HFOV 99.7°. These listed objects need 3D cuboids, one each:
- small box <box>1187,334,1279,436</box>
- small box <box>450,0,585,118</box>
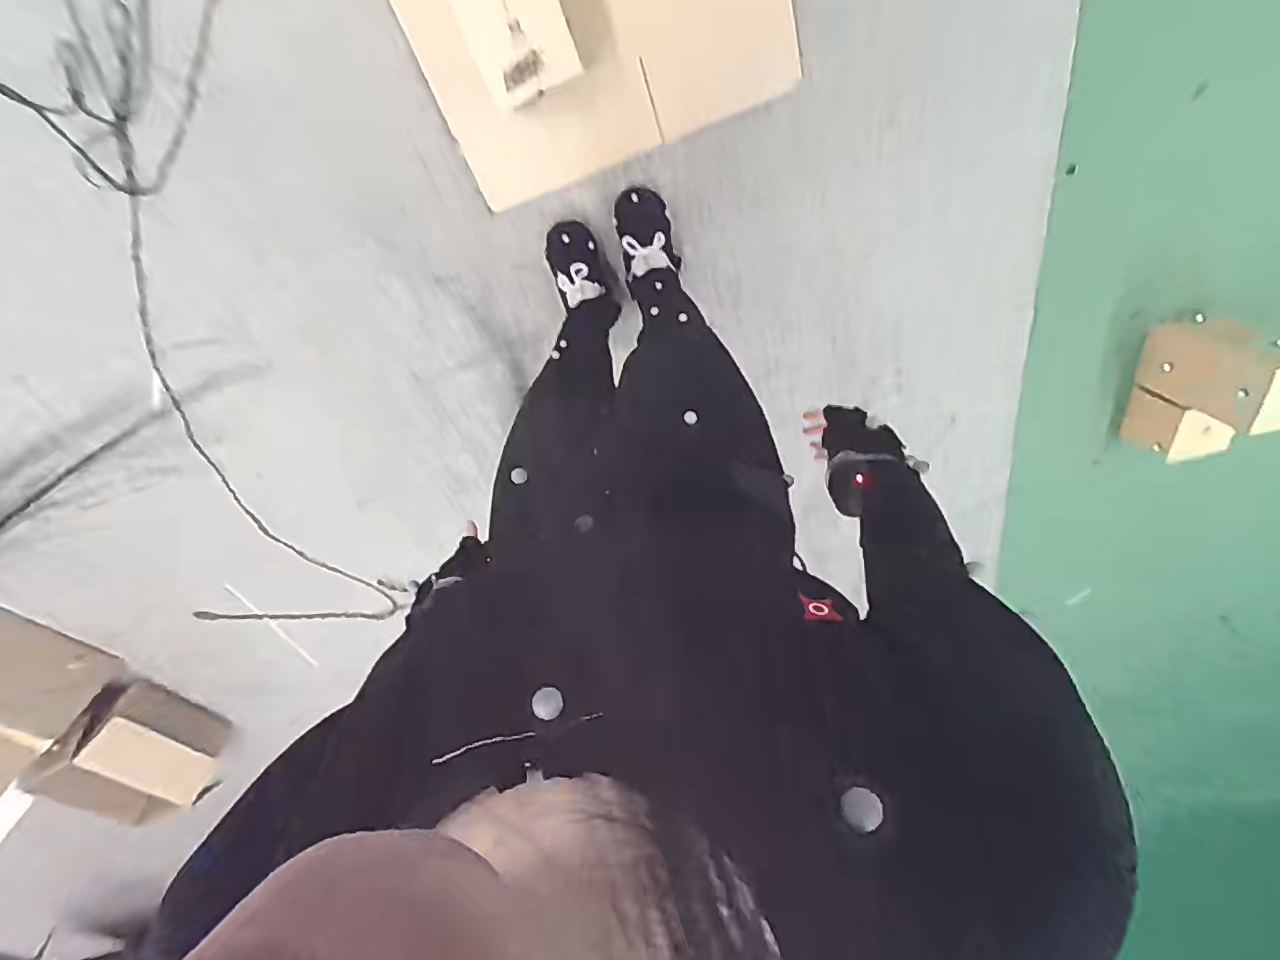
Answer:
[{"bbox_3d":[1.487,-0.235,1.297,0.168,0.176,0.179,-13,124,5],"label":"small box"},{"bbox_3d":[-0.203,-0.774,0.955,0.168,0.176,0.179,-19,124,9],"label":"small box"}]
